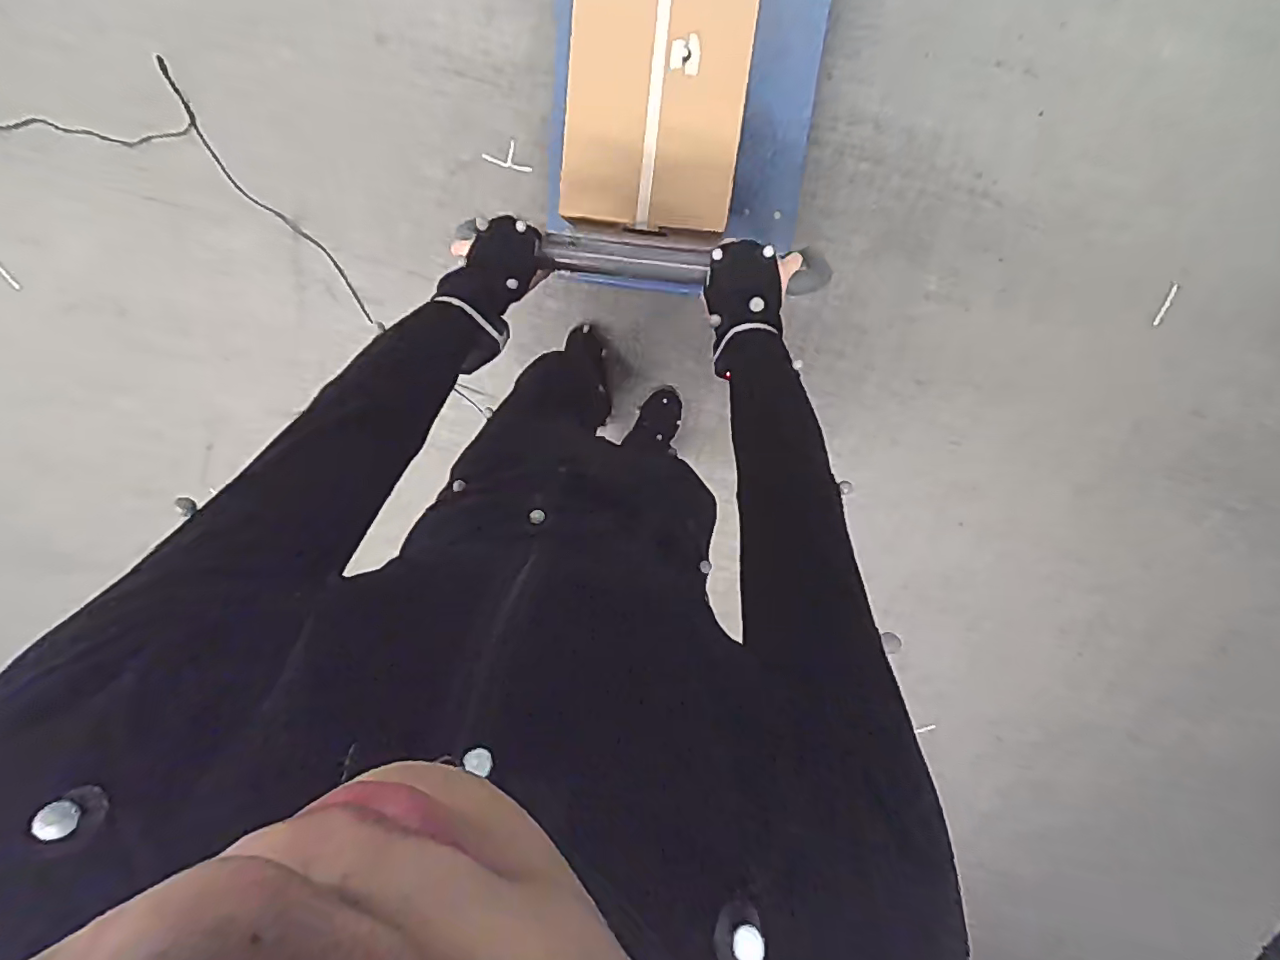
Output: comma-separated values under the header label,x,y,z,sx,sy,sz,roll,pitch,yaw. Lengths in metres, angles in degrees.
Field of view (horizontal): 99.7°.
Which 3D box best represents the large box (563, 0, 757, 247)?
label,x,y,z,sx,sy,sz,roll,pitch,yaw
large box,0.042,-0.718,1.096,0.320,0.320,0.408,8,106,3
